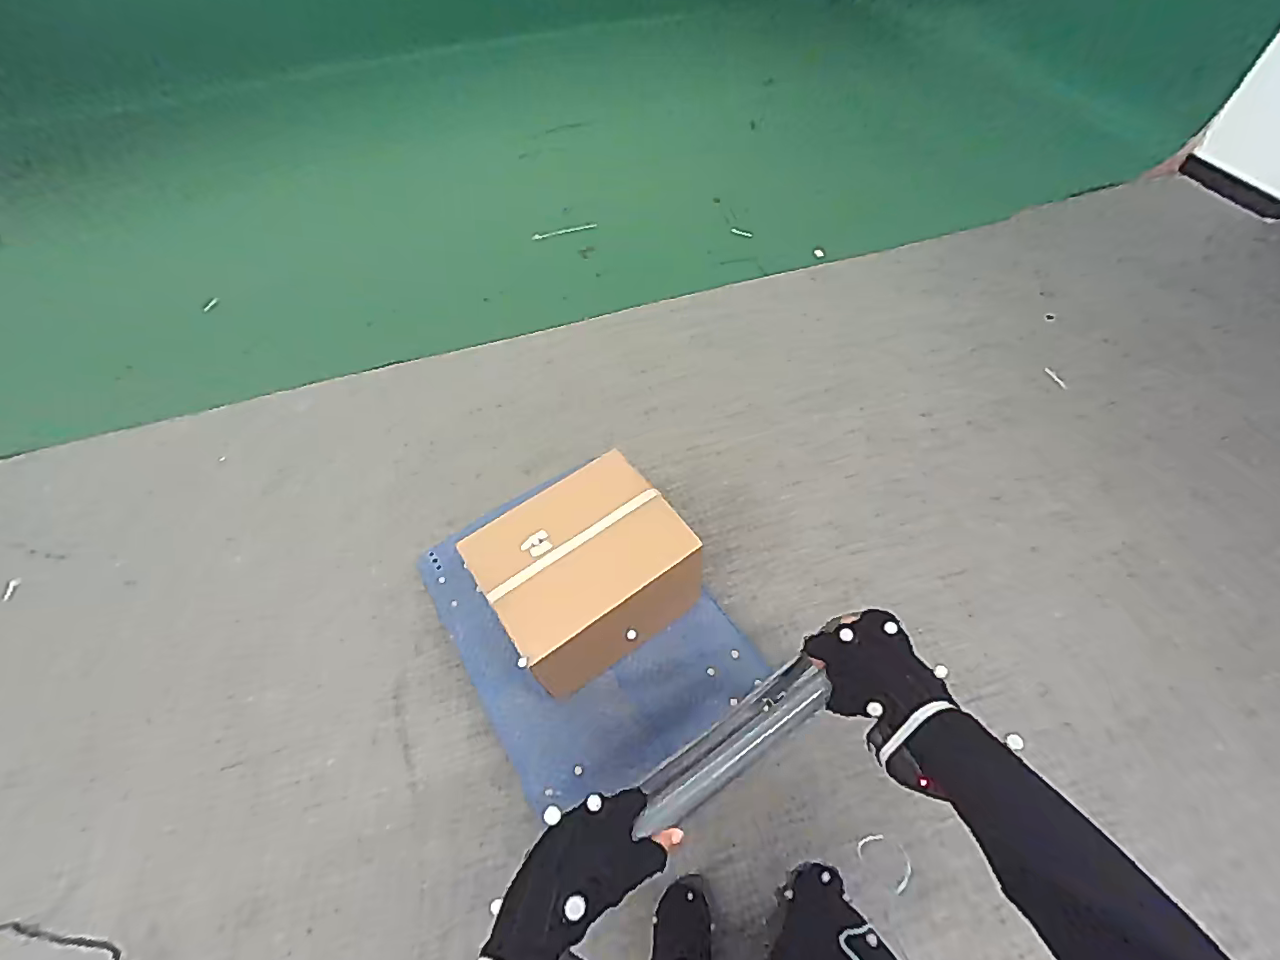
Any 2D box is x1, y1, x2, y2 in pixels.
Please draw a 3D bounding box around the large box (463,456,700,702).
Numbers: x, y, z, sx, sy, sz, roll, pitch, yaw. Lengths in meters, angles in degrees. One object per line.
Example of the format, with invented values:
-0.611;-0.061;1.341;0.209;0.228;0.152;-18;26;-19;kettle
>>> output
-0.113;0.226;1.230;0.408;0.320;0.320;-33;59;-16;large box
